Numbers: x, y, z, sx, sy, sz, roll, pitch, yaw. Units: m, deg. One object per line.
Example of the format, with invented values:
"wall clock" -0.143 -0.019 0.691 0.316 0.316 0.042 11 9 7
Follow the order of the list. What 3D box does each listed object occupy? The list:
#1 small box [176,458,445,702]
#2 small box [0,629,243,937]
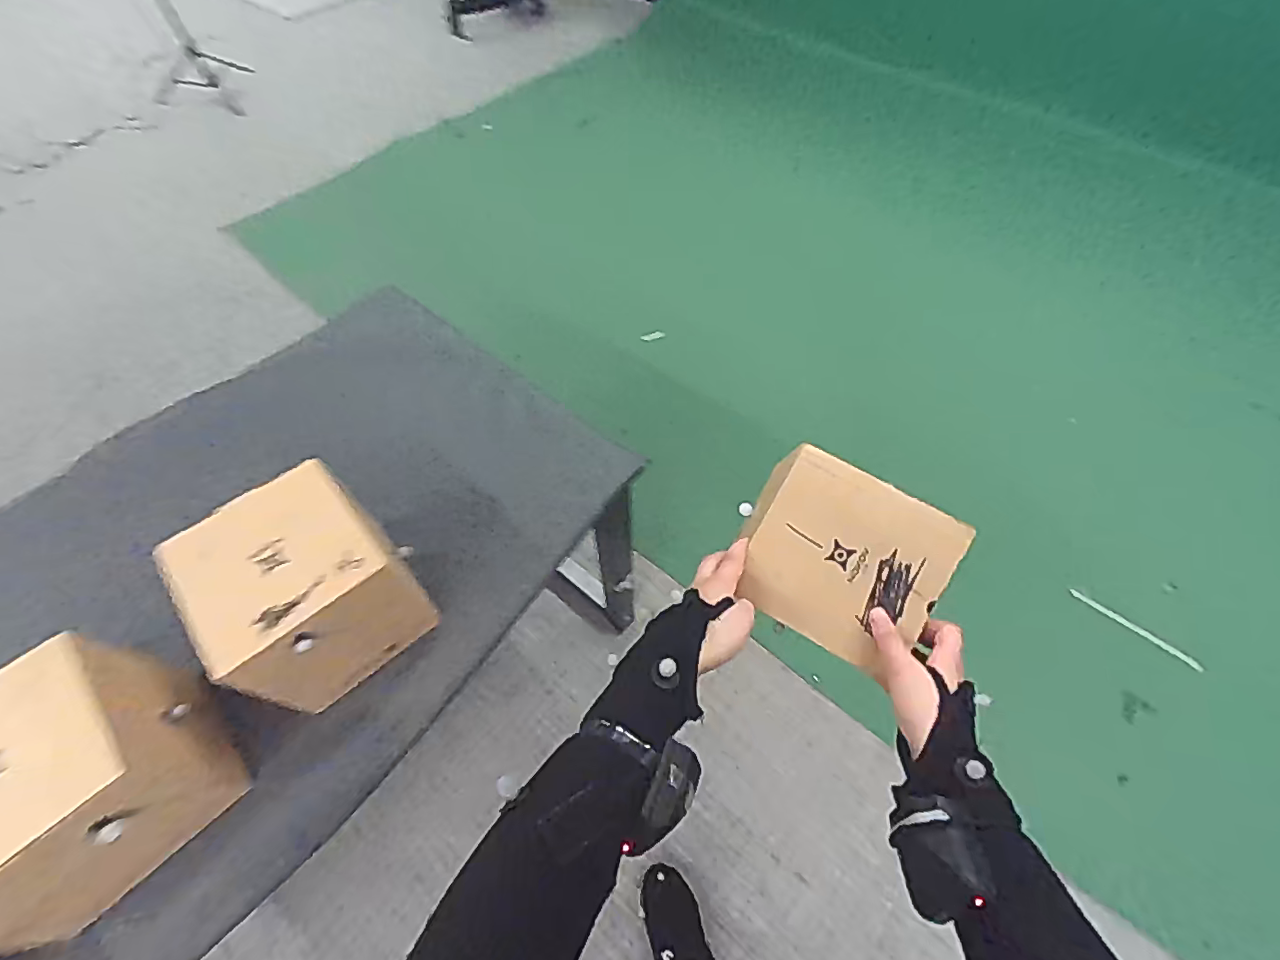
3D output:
"small box" -0.350 0.116 0.602 0.168 0.176 0.179 -37 63 -19
"small box" -0.518 0.276 0.503 0.179 0.176 0.168 -40 64 -21
